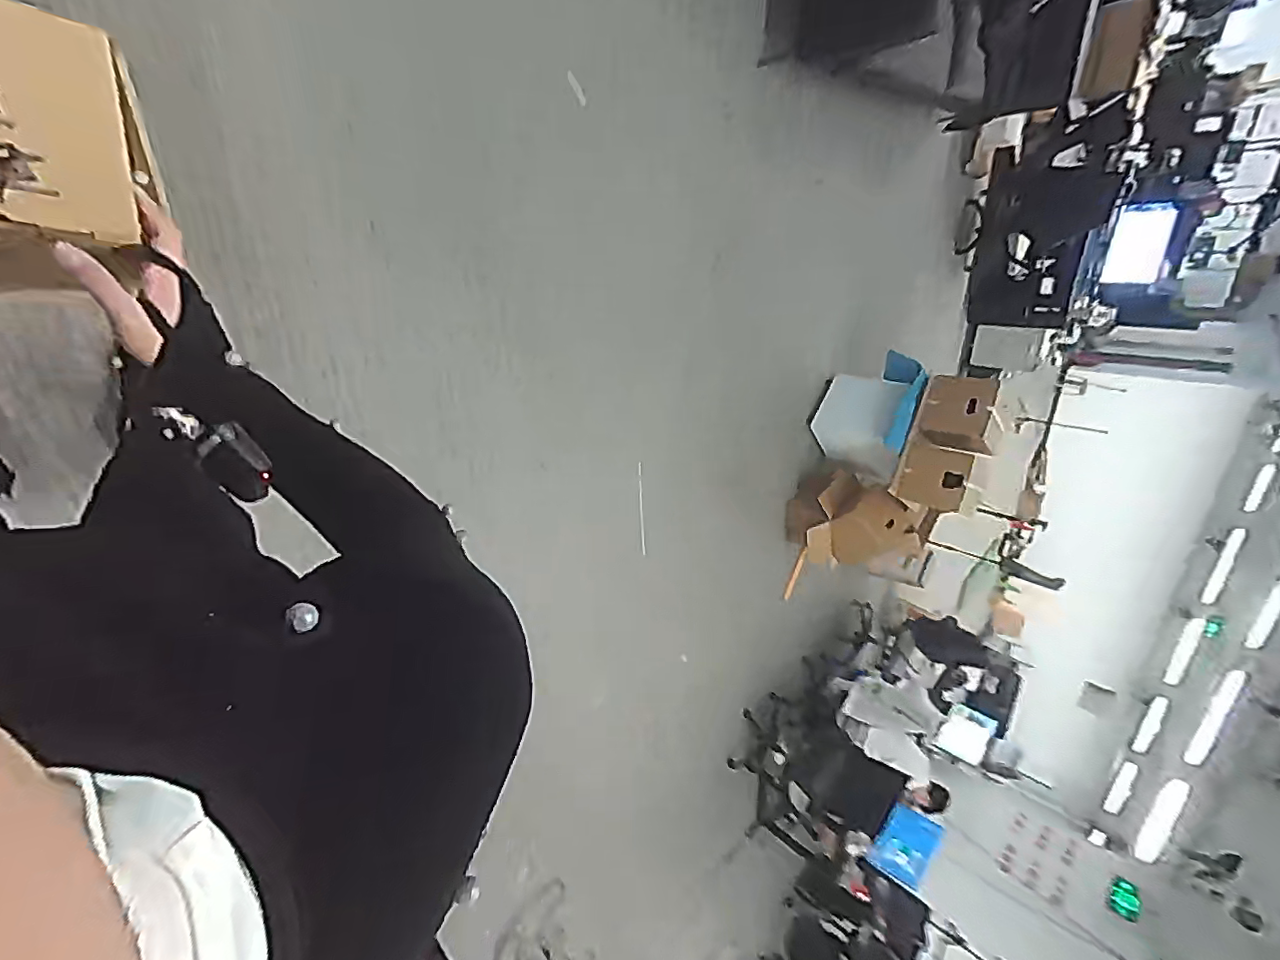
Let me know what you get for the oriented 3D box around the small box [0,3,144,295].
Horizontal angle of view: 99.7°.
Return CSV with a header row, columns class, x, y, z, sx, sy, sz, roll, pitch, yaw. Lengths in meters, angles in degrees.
class,x,y,z,sx,sy,sz,roll,pitch,yaw
small box,-0.542,-0.269,0.457,0.168,0.176,0.179,-11,96,-44
